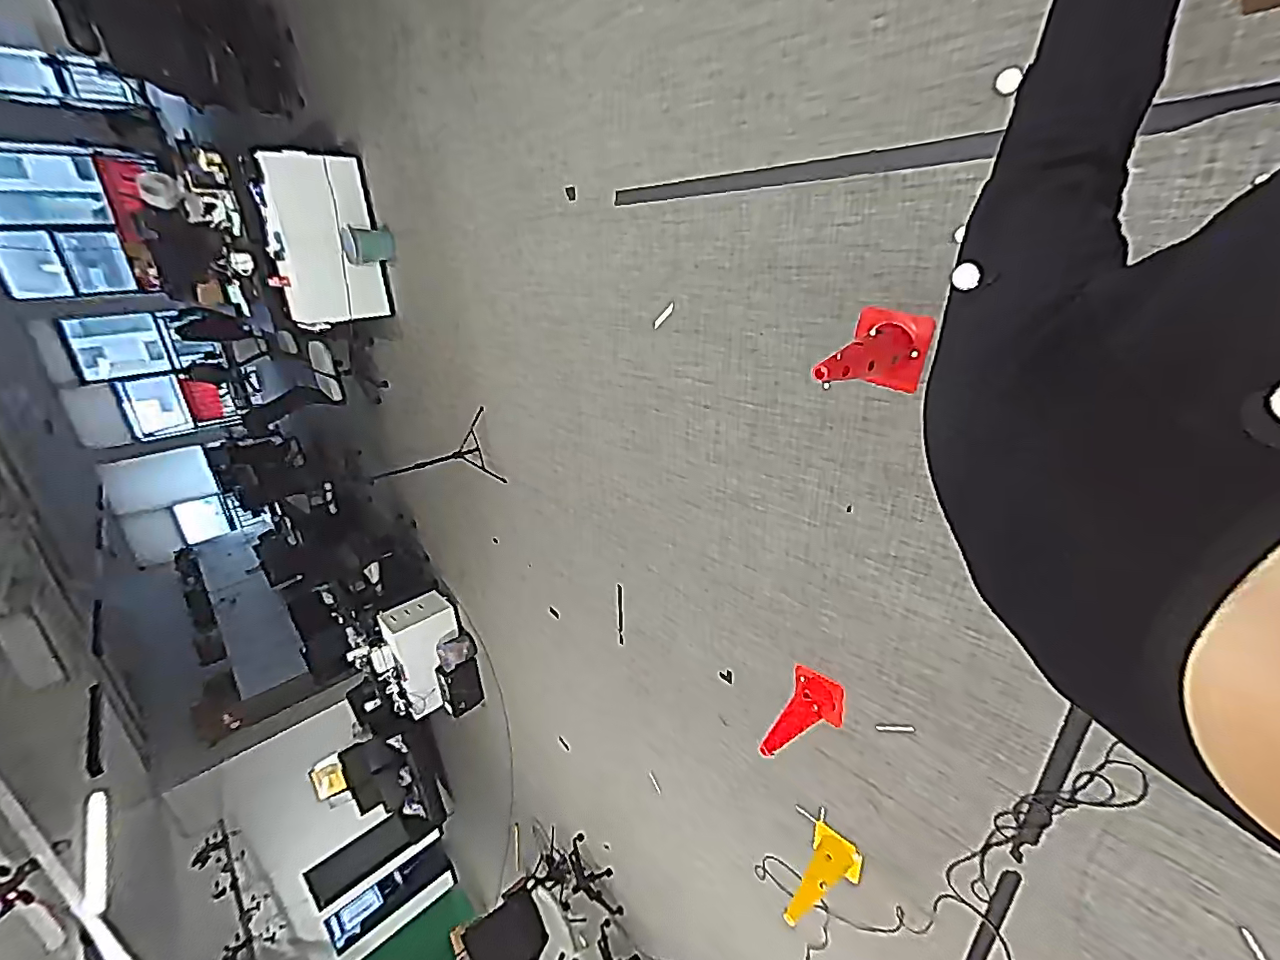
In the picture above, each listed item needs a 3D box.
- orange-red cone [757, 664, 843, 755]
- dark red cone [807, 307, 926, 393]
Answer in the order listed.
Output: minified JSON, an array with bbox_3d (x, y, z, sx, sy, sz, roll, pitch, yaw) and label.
[{"bbox_3d":[0.542,0.859,1.929,0.198,0.360,0.199,20,123,45],"label":"orange-red cone"},{"bbox_3d":[0.529,-0.301,1.341,0.201,0.394,0.202,27,127,39],"label":"dark red cone"}]
